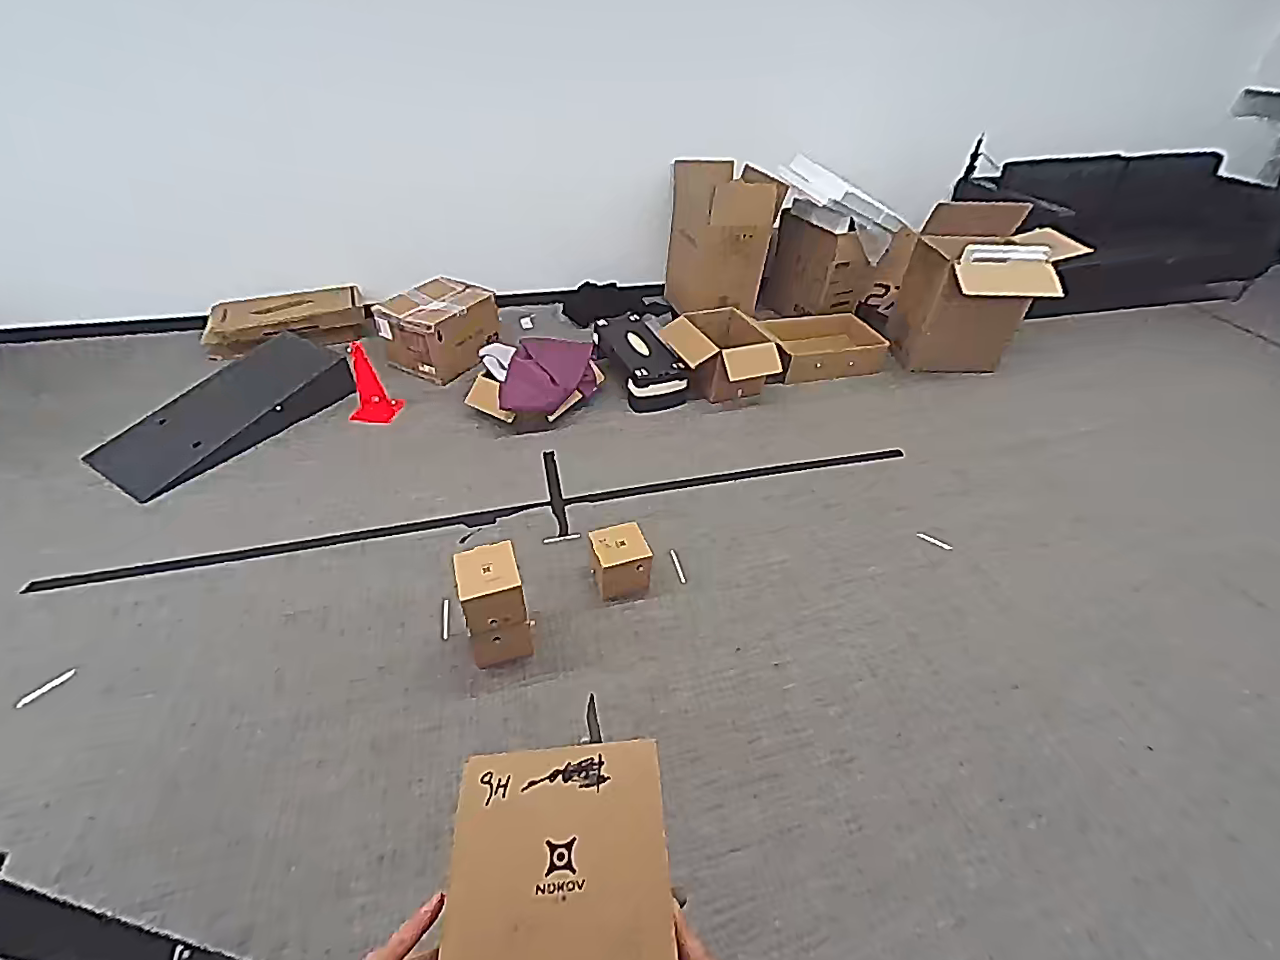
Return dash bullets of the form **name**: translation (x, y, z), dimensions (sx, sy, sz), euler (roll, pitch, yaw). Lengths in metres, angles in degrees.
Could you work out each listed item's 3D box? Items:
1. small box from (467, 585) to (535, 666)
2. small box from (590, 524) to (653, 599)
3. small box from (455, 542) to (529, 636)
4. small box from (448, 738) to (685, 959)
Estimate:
- **small box**: translation (-0.424, 0.442, 1.647), dimensions (0.179, 0.176, 0.168), euler (-10, 43, -15)
- **small box**: translation (-0.068, 0.280, 1.852), dimensions (0.179, 0.176, 0.168), euler (-12, 43, -17)
- **small box**: translation (-0.422, 0.312, 1.548), dimensions (0.168, 0.176, 0.179), euler (-14, 45, -16)
- **small box**: translation (-0.051, 0.345, 0.463), dimensions (0.168, 0.176, 0.179), euler (-5, 48, -1)
